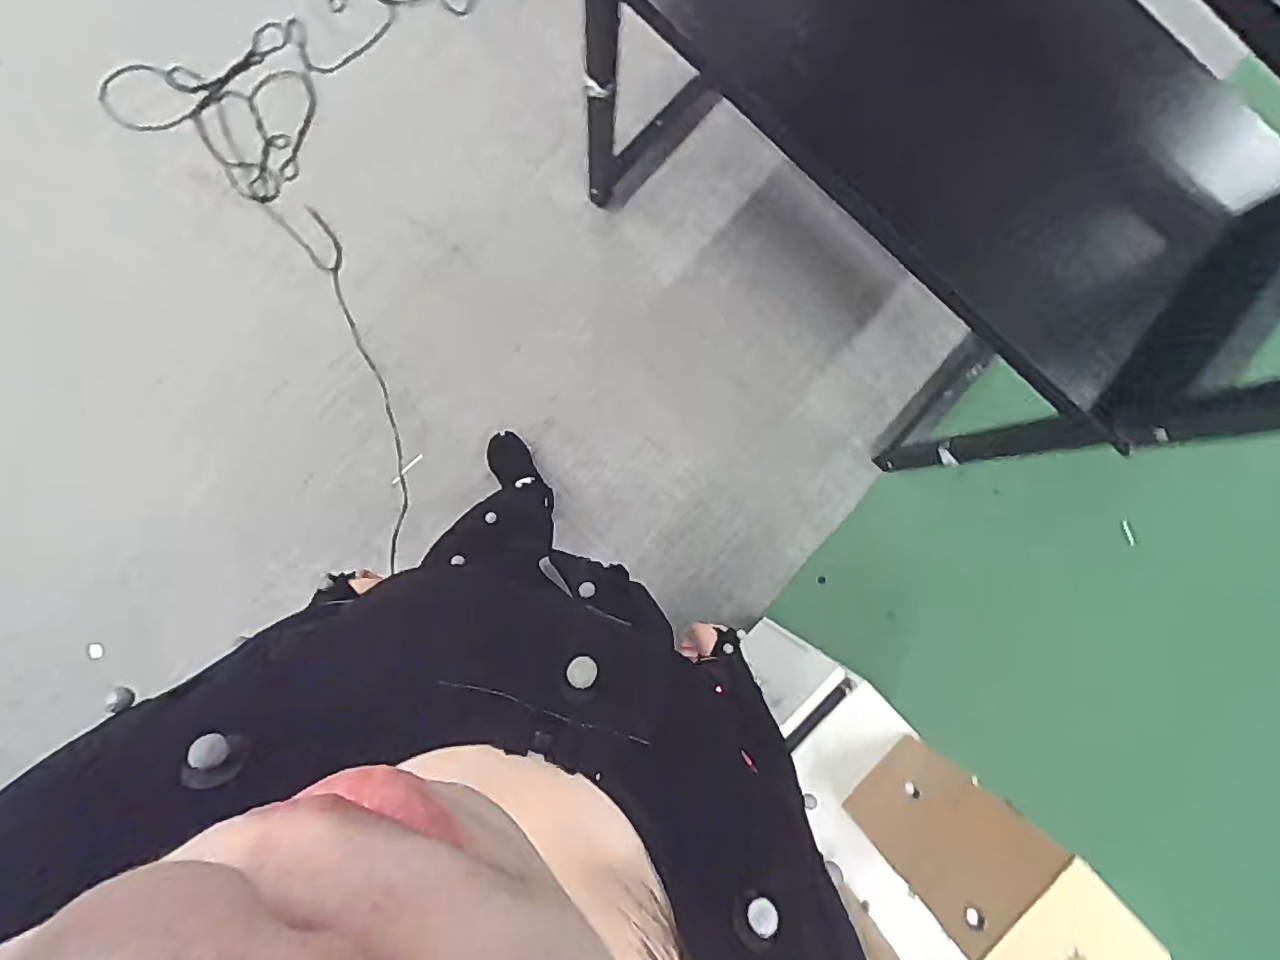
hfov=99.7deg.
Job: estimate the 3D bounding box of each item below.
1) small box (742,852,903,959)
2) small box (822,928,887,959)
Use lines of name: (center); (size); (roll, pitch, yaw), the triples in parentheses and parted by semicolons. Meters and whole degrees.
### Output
small box: (0.280, 0.718, 0.812); (0.179, 0.176, 0.168); (-41, 90, -6)
small box: (0.287, 0.709, 0.648); (0.179, 0.176, 0.168); (-41, 90, -5)
